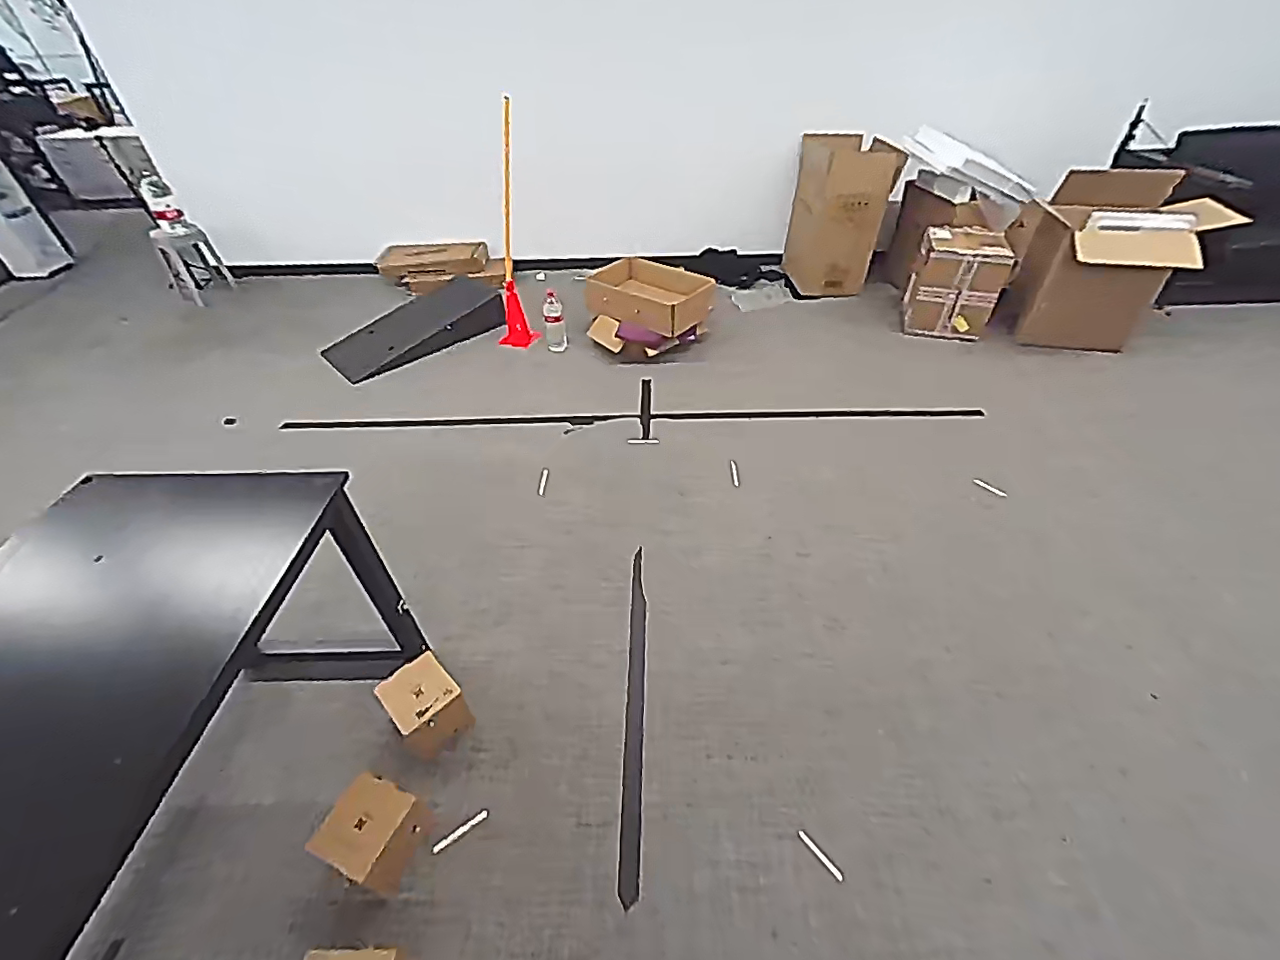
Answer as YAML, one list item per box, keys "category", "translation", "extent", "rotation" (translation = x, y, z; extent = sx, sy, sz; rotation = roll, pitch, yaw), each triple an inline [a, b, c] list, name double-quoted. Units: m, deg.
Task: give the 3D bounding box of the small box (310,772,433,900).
- category: "small box"
  translation: [-0.604, 0.821, 1.247]
  extent: [0.168, 0.176, 0.179]
  rotation: [13, 45, 18]

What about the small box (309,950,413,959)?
- category: "small box"
  translation: [-0.542, 1.015, 1.025]
  extent: [0.179, 0.176, 0.168]
  rotation: [0, 42, 0]

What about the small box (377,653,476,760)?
- category: "small box"
  translation: [-0.576, 0.617, 1.470]
  extent: [0.179, 0.176, 0.168]
  rotation: [33, 53, 32]
